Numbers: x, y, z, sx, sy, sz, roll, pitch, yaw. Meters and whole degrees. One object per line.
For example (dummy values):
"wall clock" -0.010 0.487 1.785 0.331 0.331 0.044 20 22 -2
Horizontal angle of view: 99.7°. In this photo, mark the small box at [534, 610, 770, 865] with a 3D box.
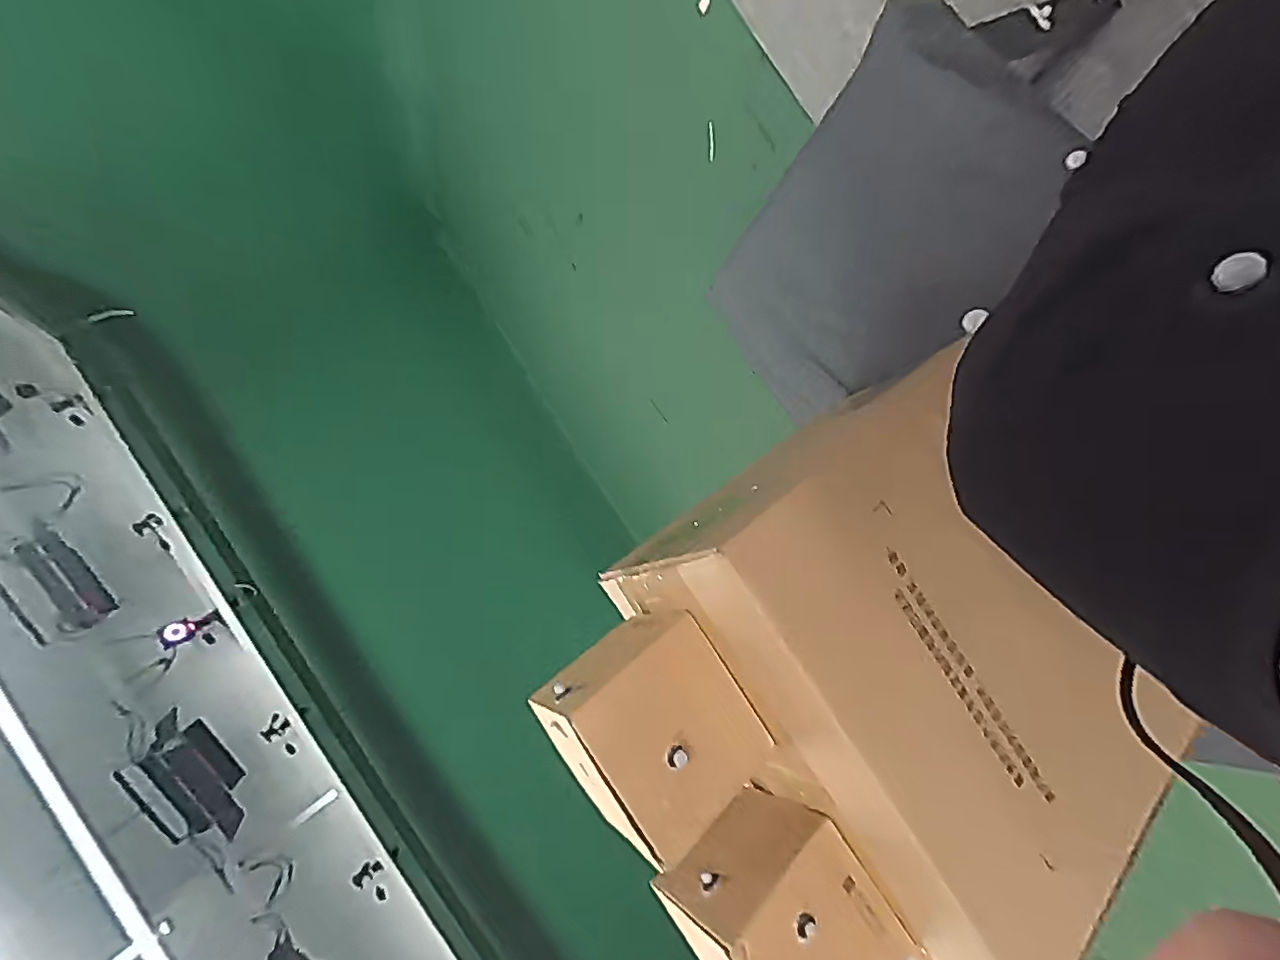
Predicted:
"small box" 0.012 0.270 0.611 0.179 0.176 0.168 56 152 0

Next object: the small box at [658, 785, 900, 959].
"small box" 0.157 0.481 0.608 0.168 0.176 0.179 57 153 2
